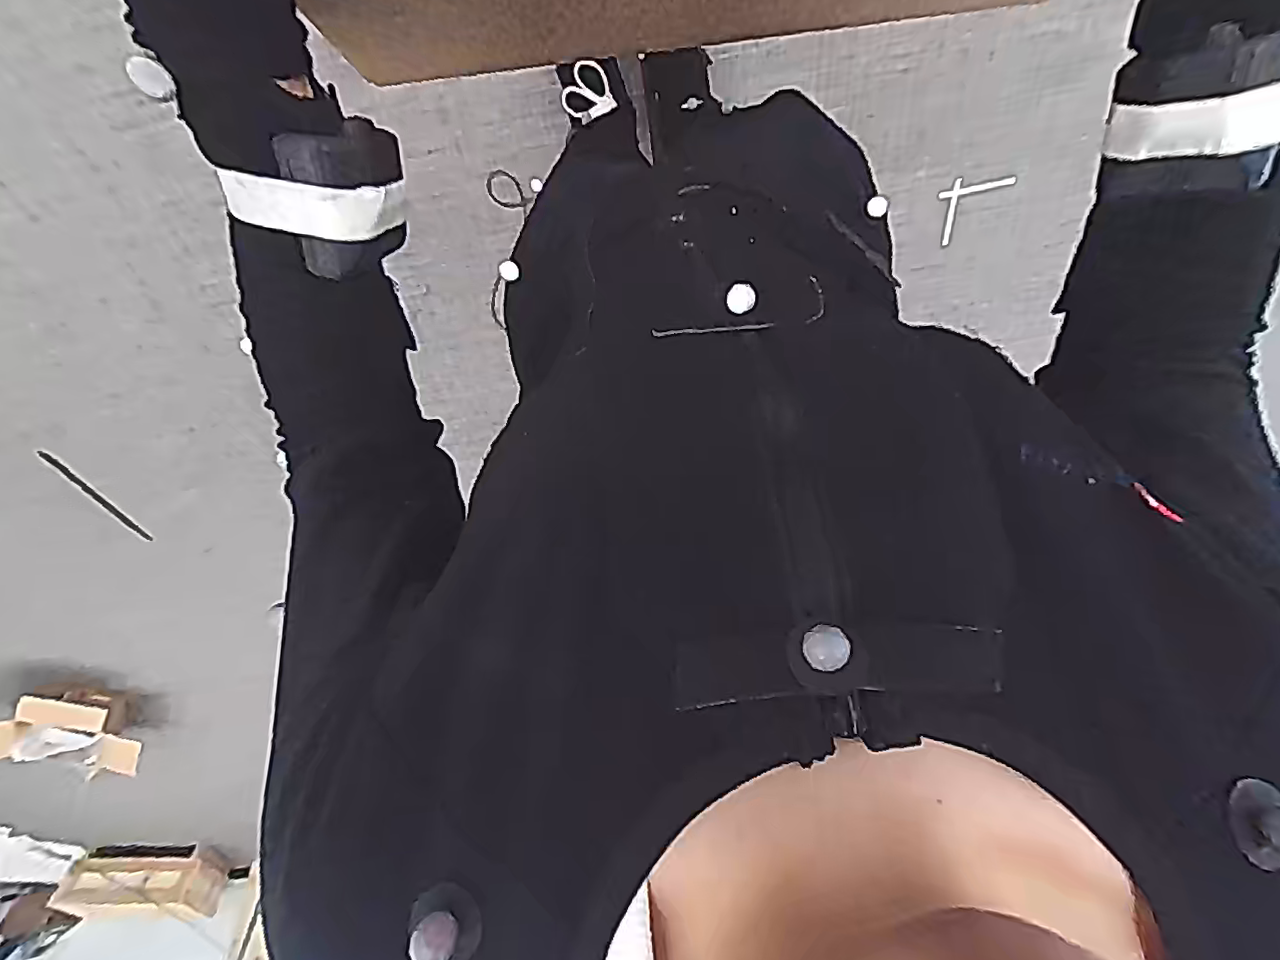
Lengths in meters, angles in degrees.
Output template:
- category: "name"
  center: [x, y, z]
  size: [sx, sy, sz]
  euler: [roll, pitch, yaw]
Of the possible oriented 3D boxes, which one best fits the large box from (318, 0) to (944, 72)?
- category: "large box"
  center: [0.020, -0.388, 0.149]
  size: [0.408, 0.320, 0.320]
  euler: [-6, 101, 1]
